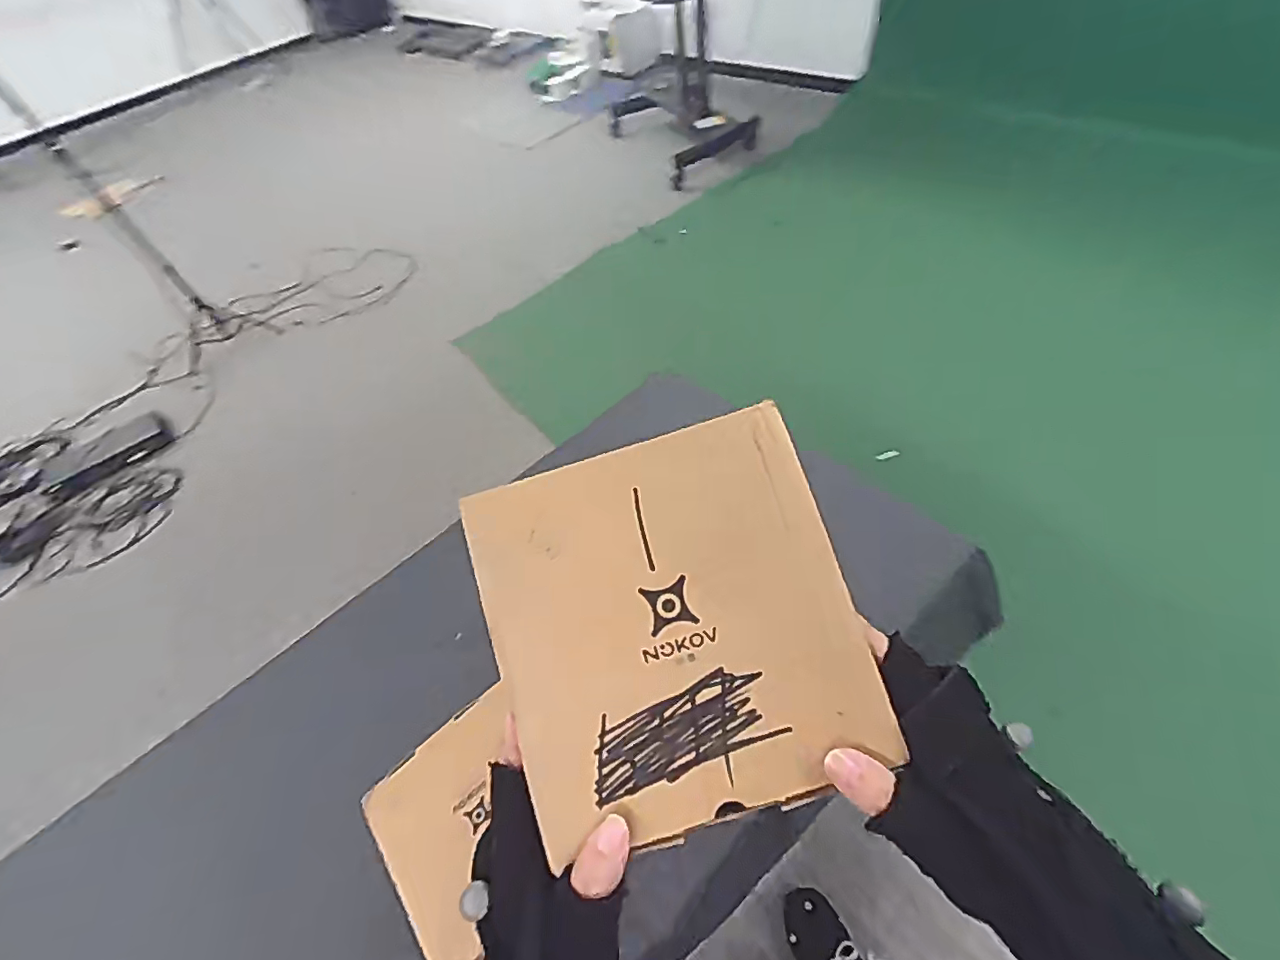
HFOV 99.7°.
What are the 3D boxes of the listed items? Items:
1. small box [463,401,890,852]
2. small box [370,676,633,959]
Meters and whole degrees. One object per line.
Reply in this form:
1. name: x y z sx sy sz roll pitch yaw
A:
1. small box: 0.017 0.077 0.334 0.168 0.176 0.179 -17 79 0
2. small box: -0.130 0.343 0.554 0.168 0.176 0.179 -40 56 -18
